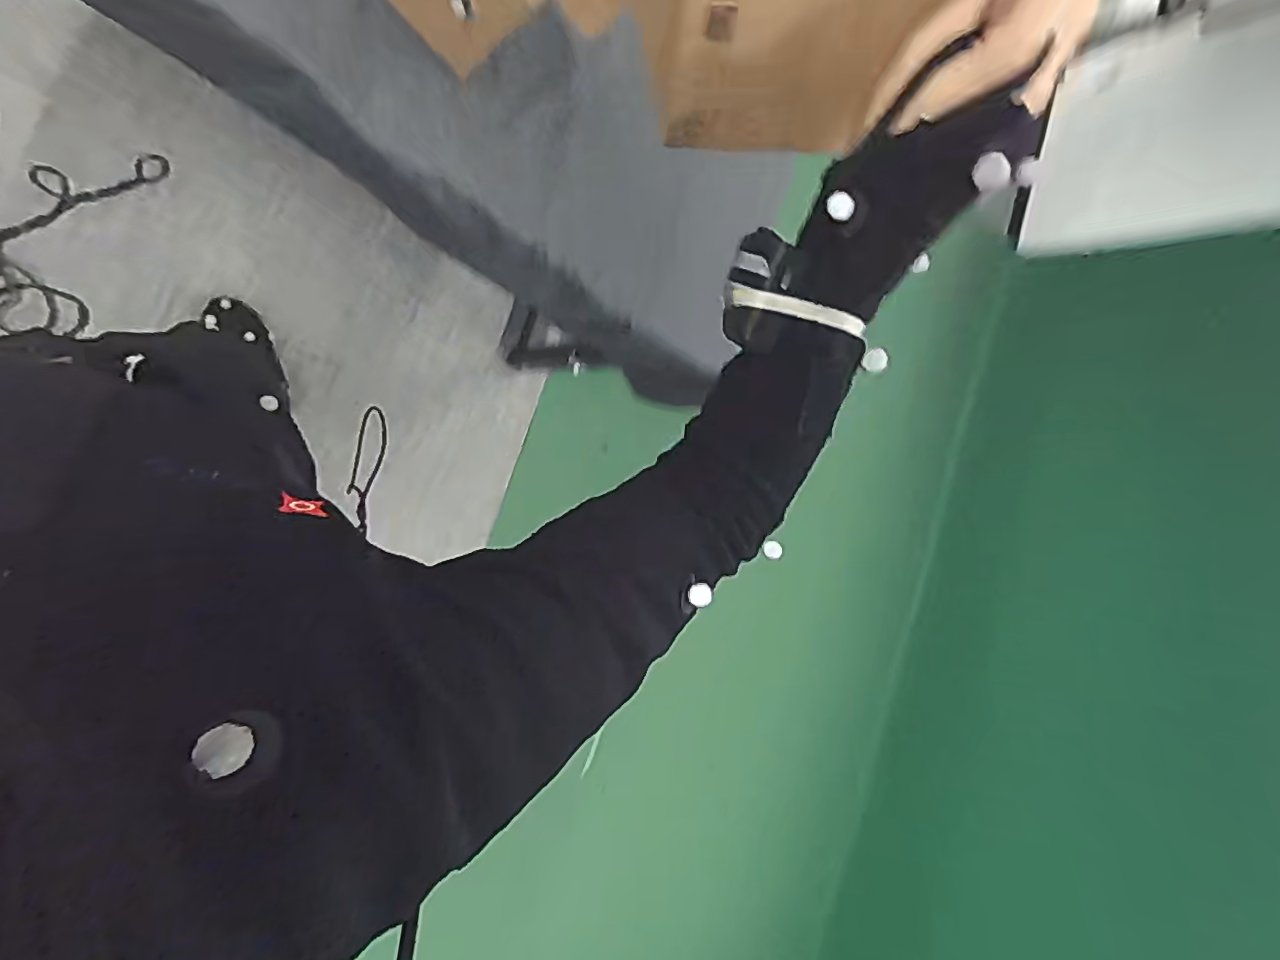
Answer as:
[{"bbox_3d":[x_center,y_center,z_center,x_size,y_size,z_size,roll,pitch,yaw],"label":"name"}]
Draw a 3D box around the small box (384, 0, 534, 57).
[{"bbox_3d":[-0.177,-0.549,0.507,0.179,0.176,0.168,32,75,-40],"label":"small box"}]
